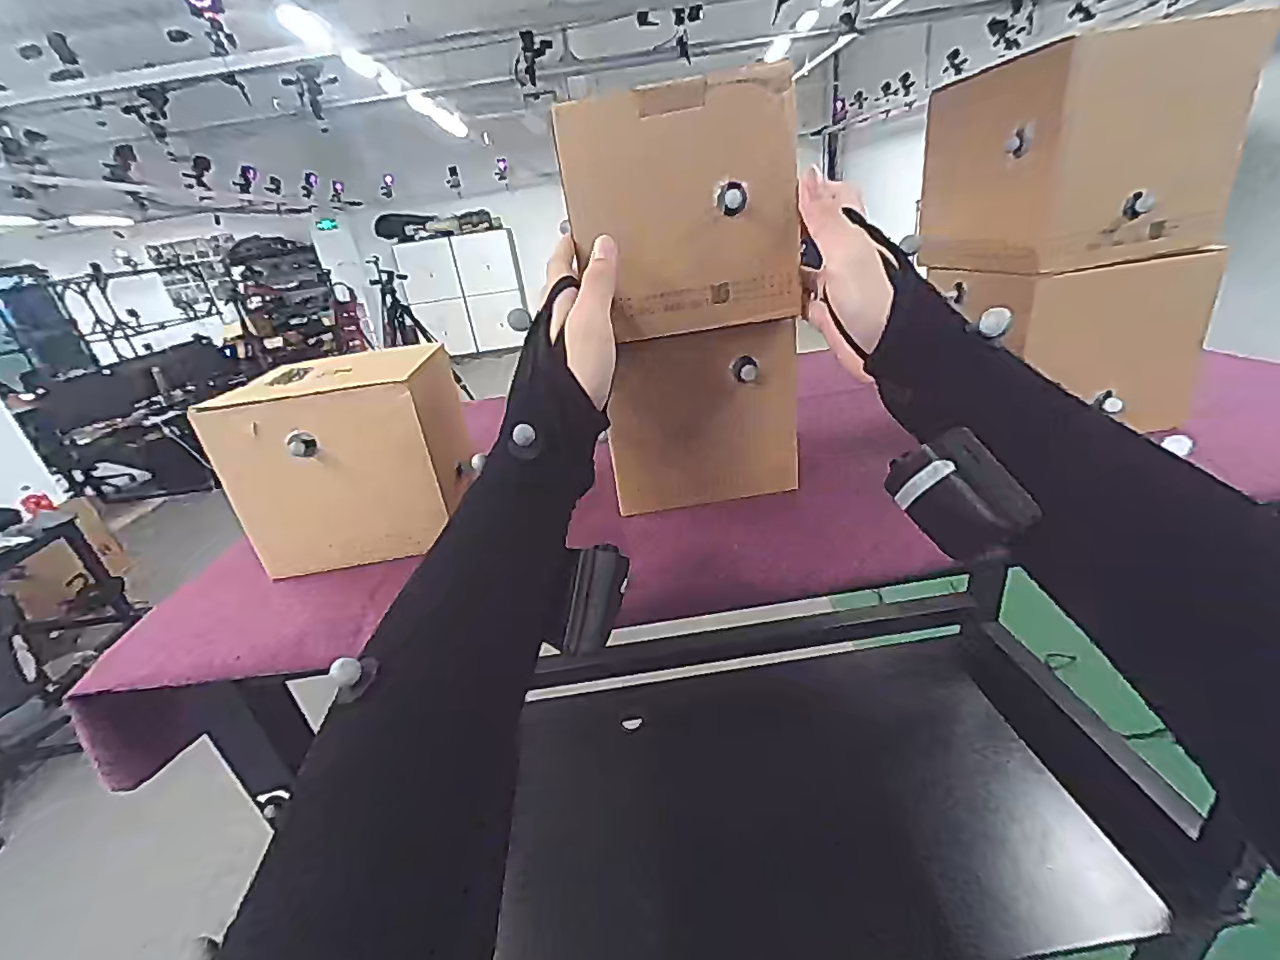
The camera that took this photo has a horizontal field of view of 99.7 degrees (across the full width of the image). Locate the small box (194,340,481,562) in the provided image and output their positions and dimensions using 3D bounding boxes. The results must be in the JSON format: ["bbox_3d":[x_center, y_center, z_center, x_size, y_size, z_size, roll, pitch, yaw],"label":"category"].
[{"bbox_3d":[-0.277,-0.034,0.547,0.179,0.176,0.168,-9,25,-4],"label":"small box"}]

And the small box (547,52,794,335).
[{"bbox_3d":[0.034,-0.226,0.466,0.168,0.176,0.179,-6,24,7],"label":"small box"}]

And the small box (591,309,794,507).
[{"bbox_3d":[0.050,-0.088,0.561,0.179,0.176,0.168,-9,24,0],"label":"small box"}]

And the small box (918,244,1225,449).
[{"bbox_3d":[0.418,-0.144,0.563,0.179,0.176,0.168,-8,23,-1],"label":"small box"}]
